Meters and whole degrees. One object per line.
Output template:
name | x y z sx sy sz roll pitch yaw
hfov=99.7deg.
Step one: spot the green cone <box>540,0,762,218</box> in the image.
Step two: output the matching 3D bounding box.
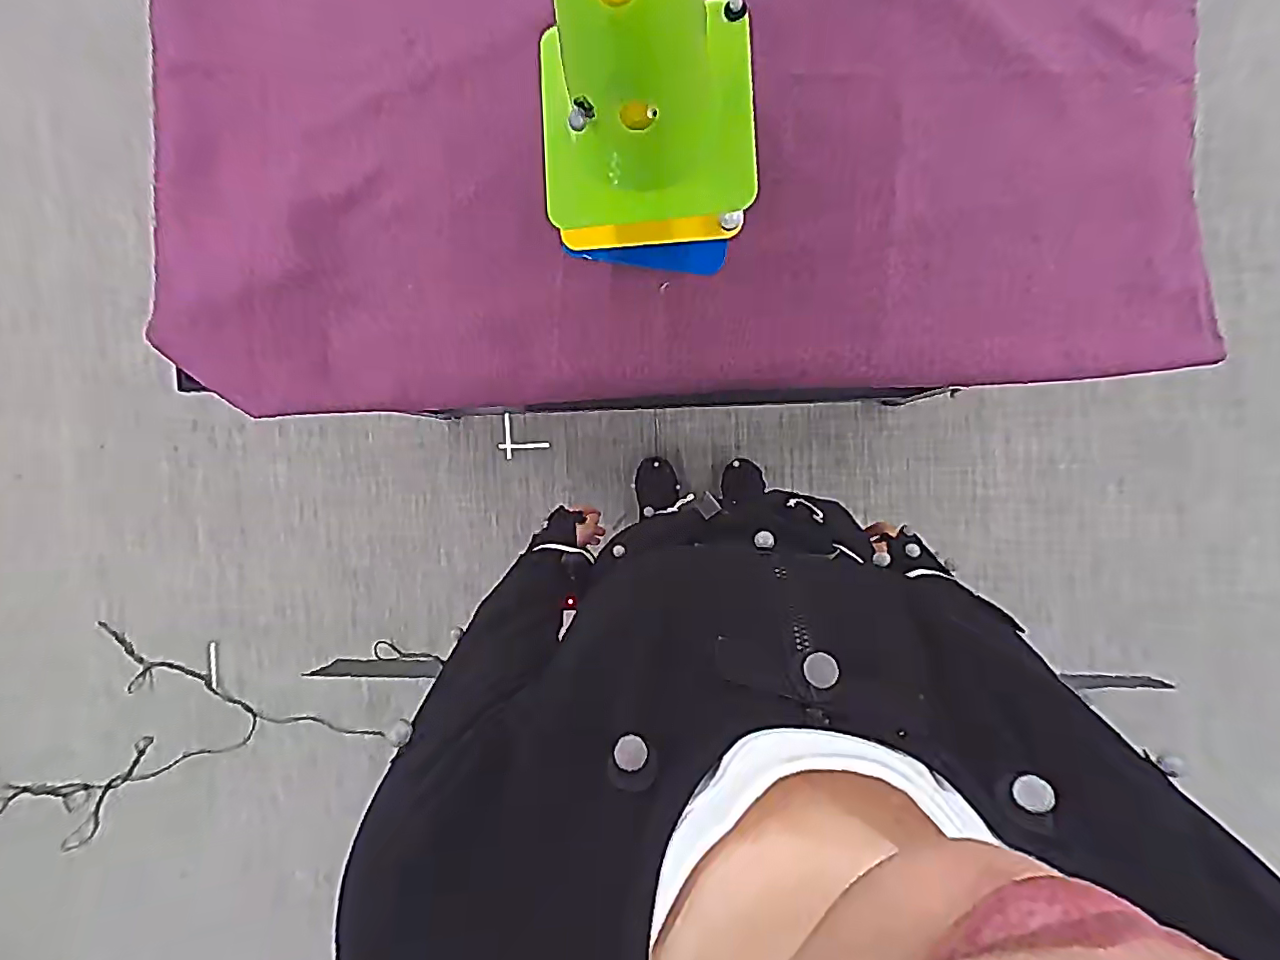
green cone | -0.014 -0.348 0.330 0.200 0.368 0.202 -4 90 7
